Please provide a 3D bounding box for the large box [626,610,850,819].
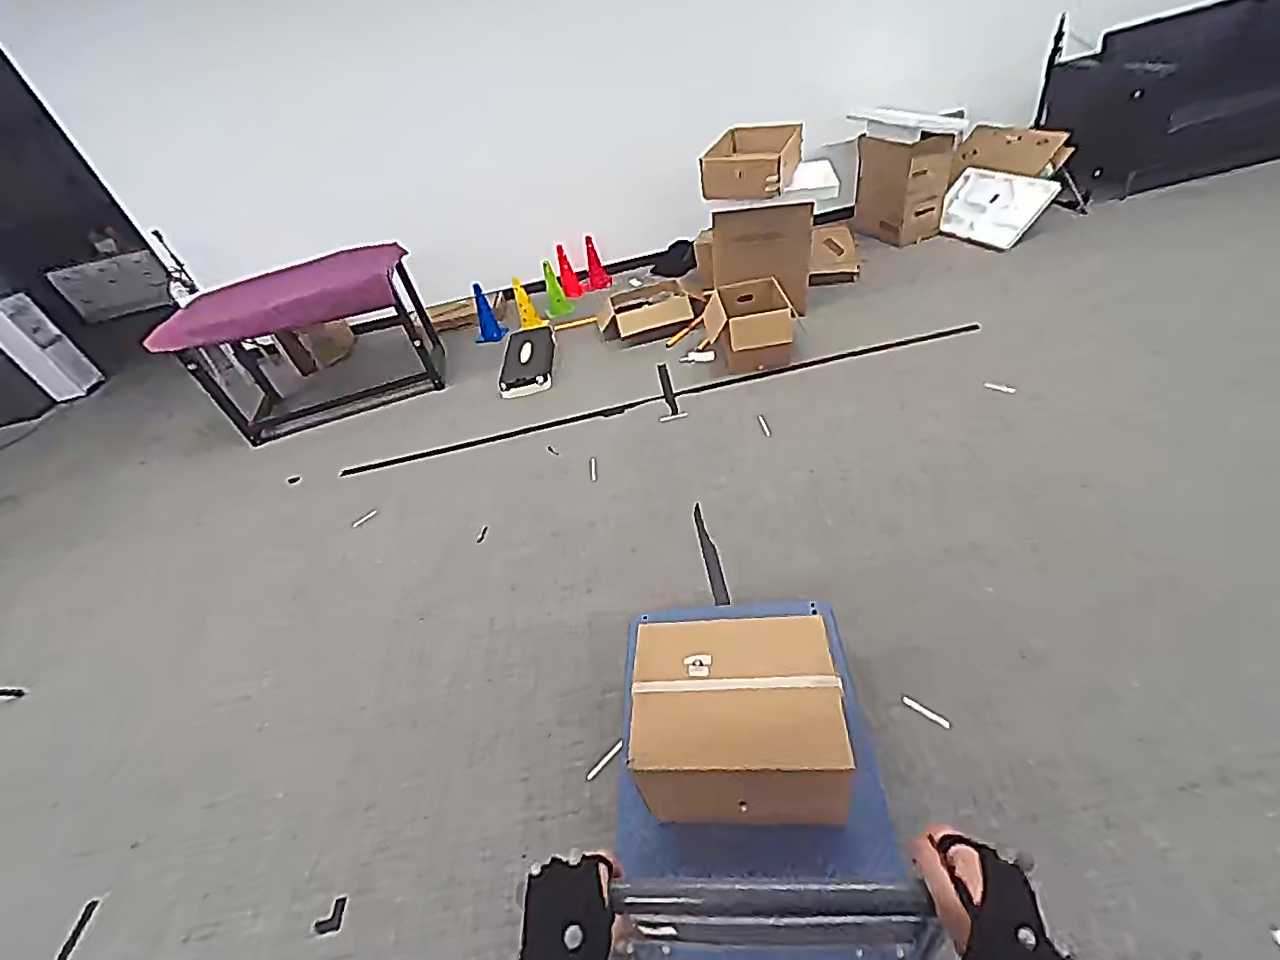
[{"bbox_3d":[0.207,0.512,1.167,0.408,0.320,0.320,-7,40,11],"label":"large box"}]
